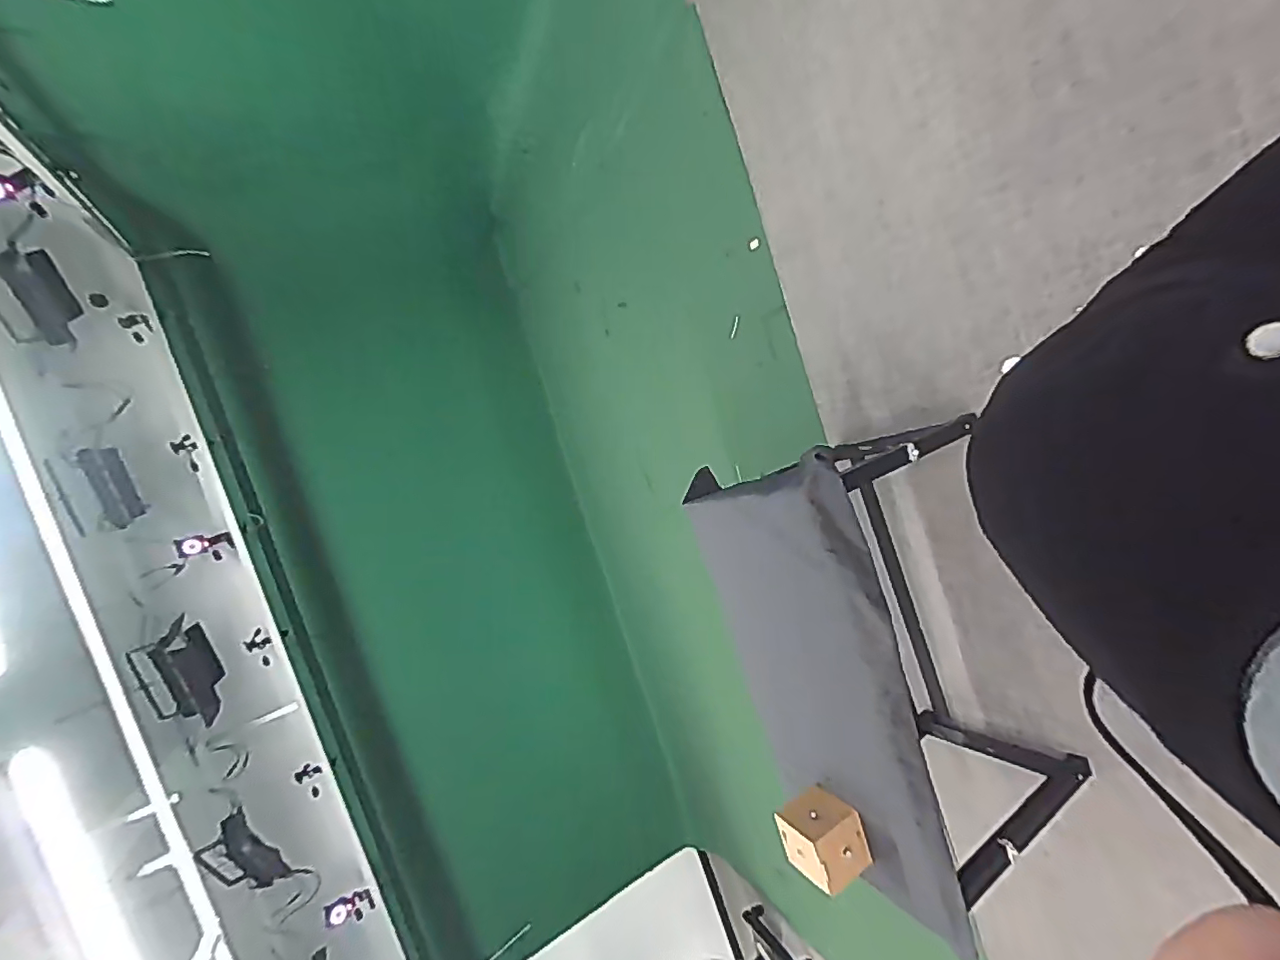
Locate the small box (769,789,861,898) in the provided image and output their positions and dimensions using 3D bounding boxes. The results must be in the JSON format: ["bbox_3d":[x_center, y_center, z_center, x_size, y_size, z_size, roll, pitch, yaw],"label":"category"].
[{"bbox_3d":[0.513,1.038,1.566,0.179,0.176,0.168,-9,99,64],"label":"small box"}]
